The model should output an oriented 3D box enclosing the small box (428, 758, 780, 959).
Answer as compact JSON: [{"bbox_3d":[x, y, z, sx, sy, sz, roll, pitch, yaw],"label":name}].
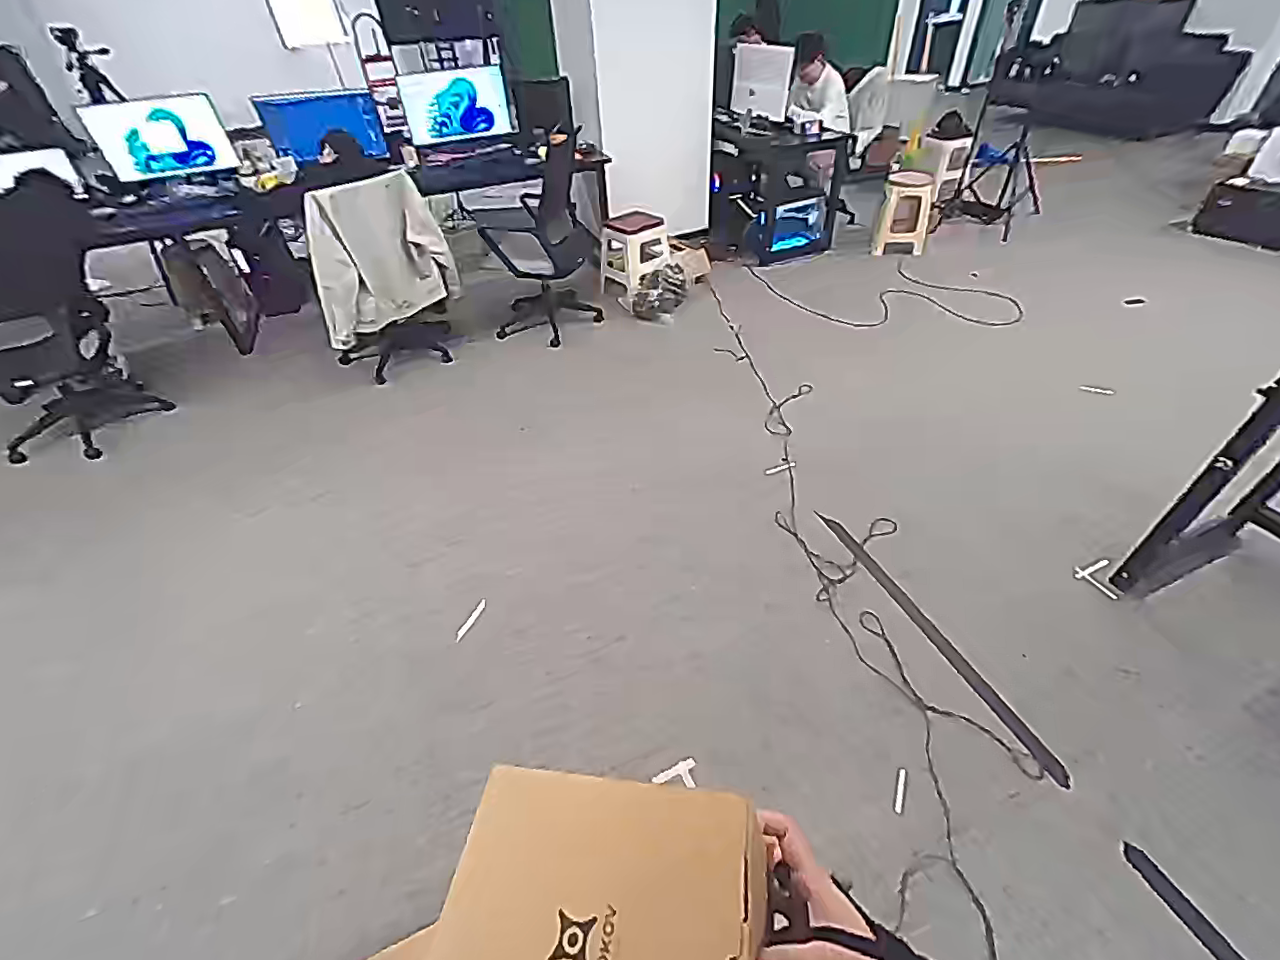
[{"bbox_3d":[-0.009,0.300,0.336,0.179,0.176,0.168,-1,43,17],"label":"small box"}]
